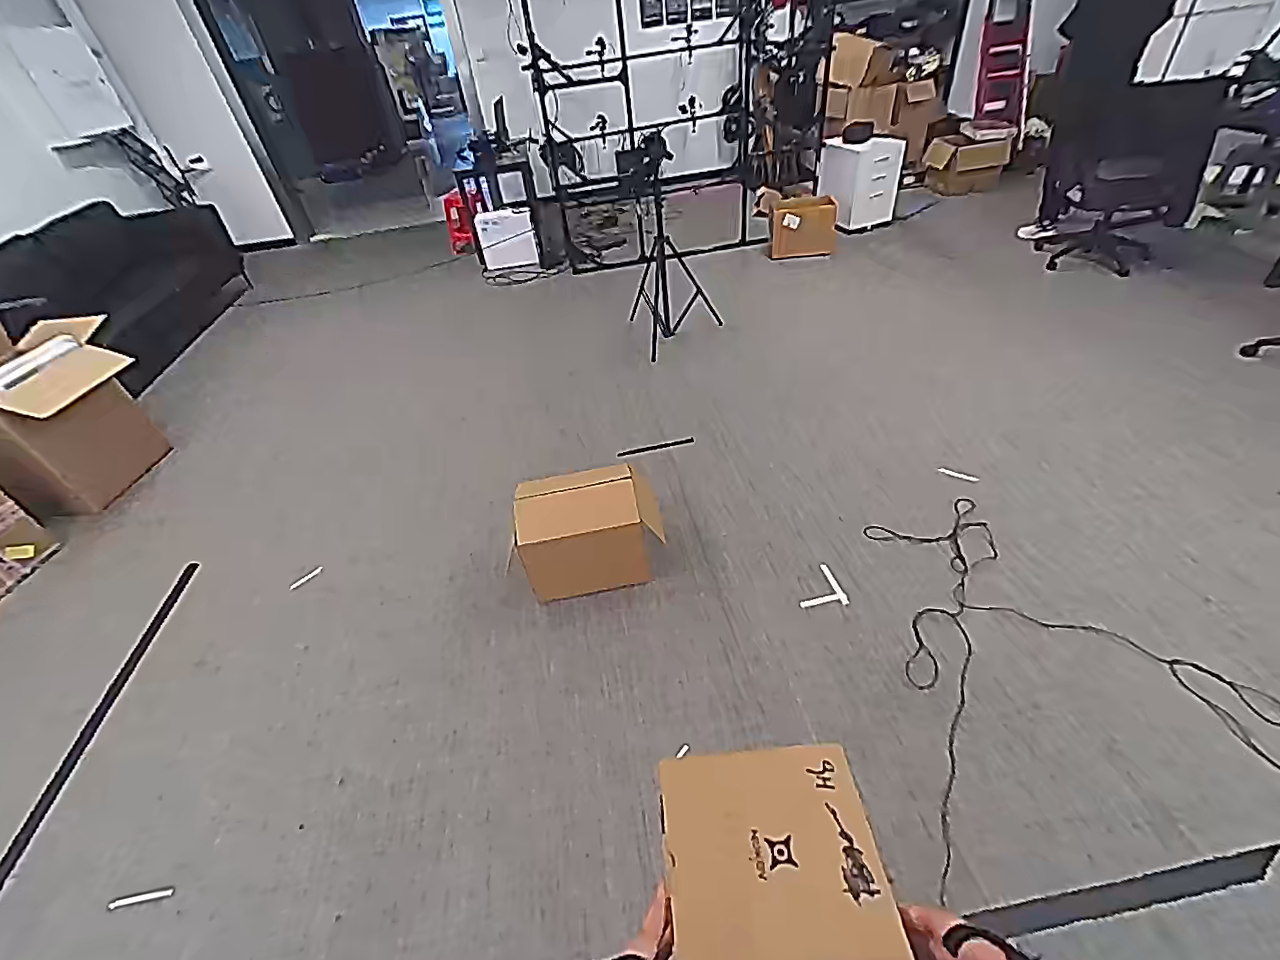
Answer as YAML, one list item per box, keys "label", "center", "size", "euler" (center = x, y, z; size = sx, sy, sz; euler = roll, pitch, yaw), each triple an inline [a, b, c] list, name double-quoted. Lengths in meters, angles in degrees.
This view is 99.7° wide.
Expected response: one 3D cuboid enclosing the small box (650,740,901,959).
- label: "small box"
  center: [0.107, 0.369, 0.501]
  size: [0.179, 0.176, 0.168]
  euler: [-6, 40, 0]
